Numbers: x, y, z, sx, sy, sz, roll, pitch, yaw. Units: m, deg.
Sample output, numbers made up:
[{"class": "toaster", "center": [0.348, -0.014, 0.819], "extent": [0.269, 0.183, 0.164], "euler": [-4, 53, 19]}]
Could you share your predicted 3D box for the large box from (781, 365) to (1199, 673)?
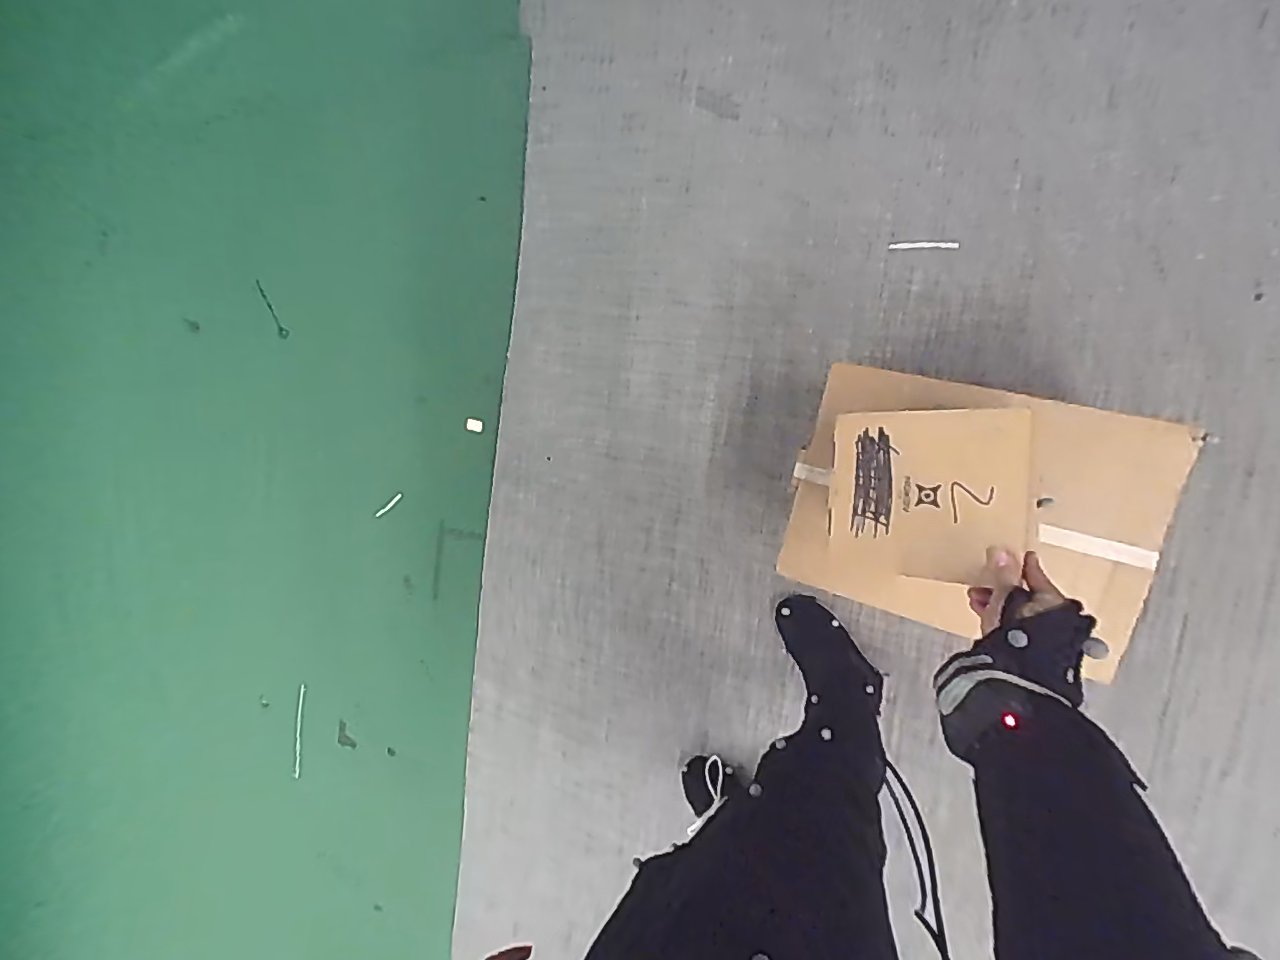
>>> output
[{"class": "large box", "center": [0.465, 0.030, 0.824], "extent": [0.408, 0.320, 0.320], "euler": [16, 99, 21]}]
